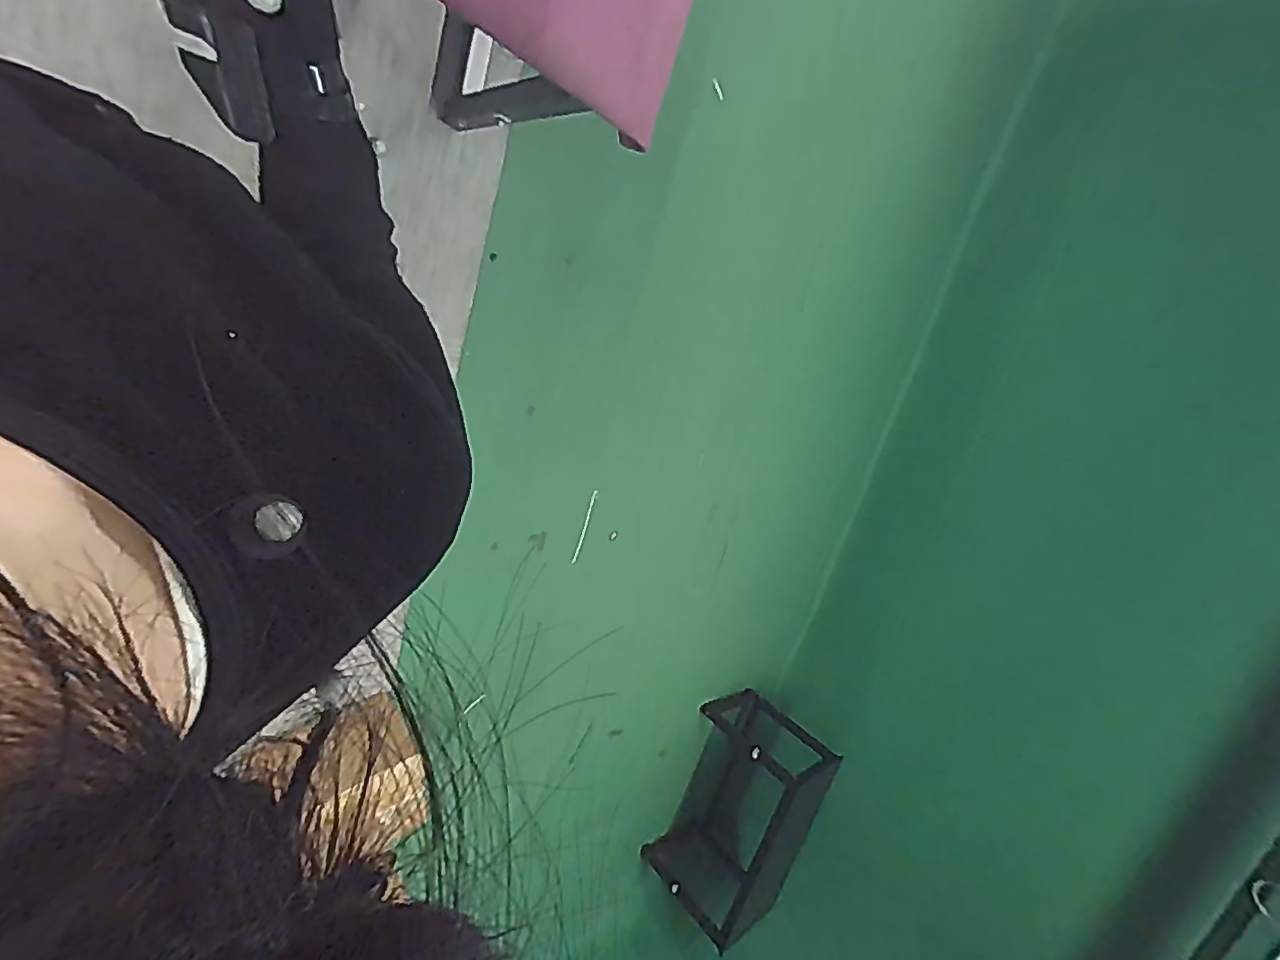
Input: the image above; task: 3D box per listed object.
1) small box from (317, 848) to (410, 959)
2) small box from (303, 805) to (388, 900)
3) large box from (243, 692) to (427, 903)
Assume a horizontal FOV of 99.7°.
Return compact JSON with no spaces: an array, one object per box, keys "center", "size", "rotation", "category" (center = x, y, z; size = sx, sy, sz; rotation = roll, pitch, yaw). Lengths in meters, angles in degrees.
[{"center":[-0.685,1.080,1.345],"size":[0.179,0.176,0.168],"rotation":[-15,120,-39],"category":"small box"},{"center":[-0.789,1.018,1.455],"size":[0.168,0.176,0.179],"rotation":[-13,120,-40],"category":"small box"},{"center":[-0.919,0.935,1.649],"size":[0.408,0.320,0.320],"rotation":[-15,122,-41],"category":"large box"}]
